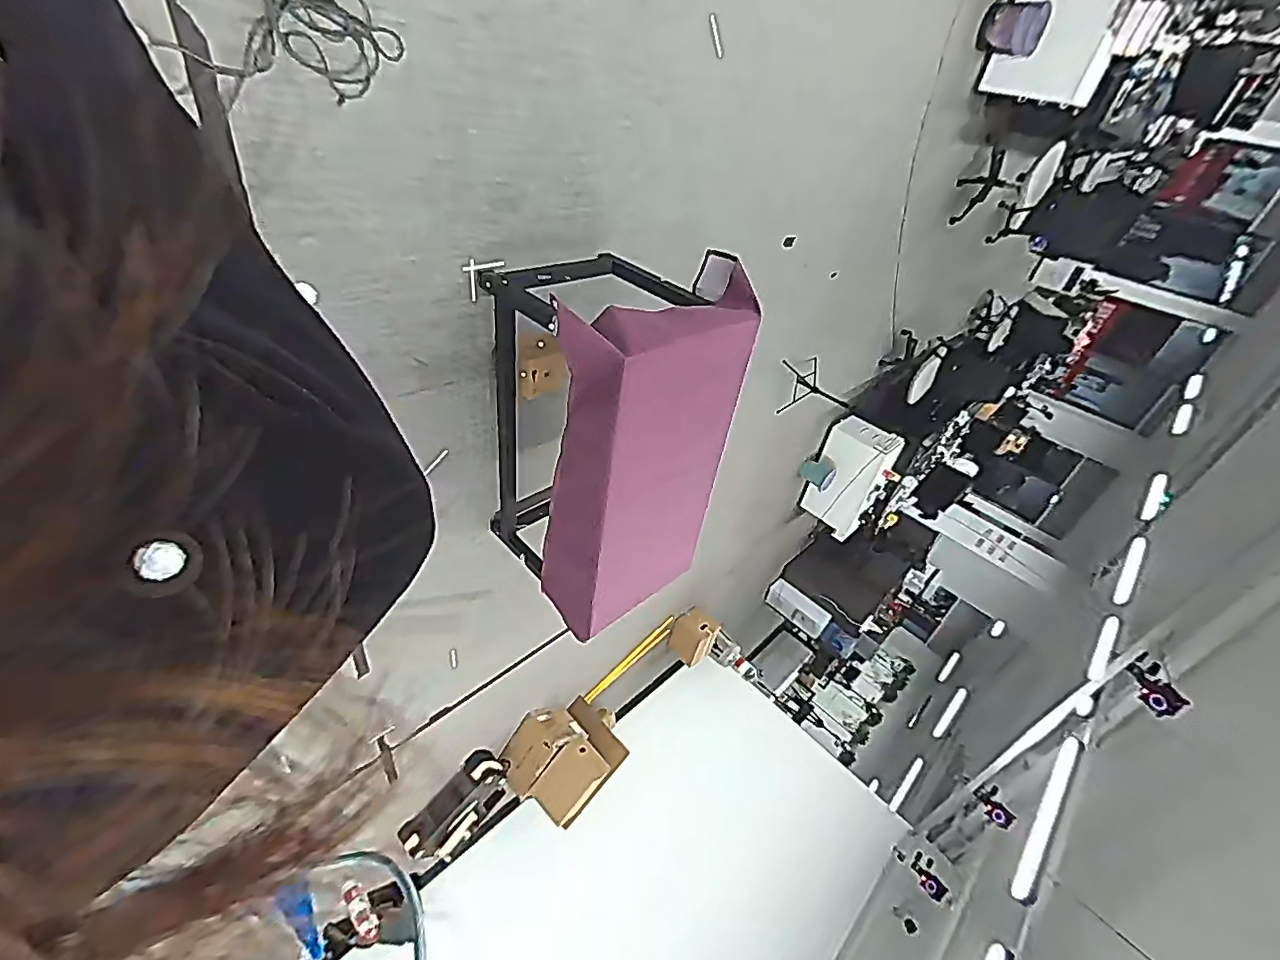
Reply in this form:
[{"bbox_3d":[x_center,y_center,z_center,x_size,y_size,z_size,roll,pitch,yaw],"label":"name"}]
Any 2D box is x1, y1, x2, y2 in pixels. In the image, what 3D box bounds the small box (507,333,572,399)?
[{"bbox_3d":[-0.377,-0.436,2.033,0.179,0.176,0.168,-28,141,-36],"label":"small box"}]
